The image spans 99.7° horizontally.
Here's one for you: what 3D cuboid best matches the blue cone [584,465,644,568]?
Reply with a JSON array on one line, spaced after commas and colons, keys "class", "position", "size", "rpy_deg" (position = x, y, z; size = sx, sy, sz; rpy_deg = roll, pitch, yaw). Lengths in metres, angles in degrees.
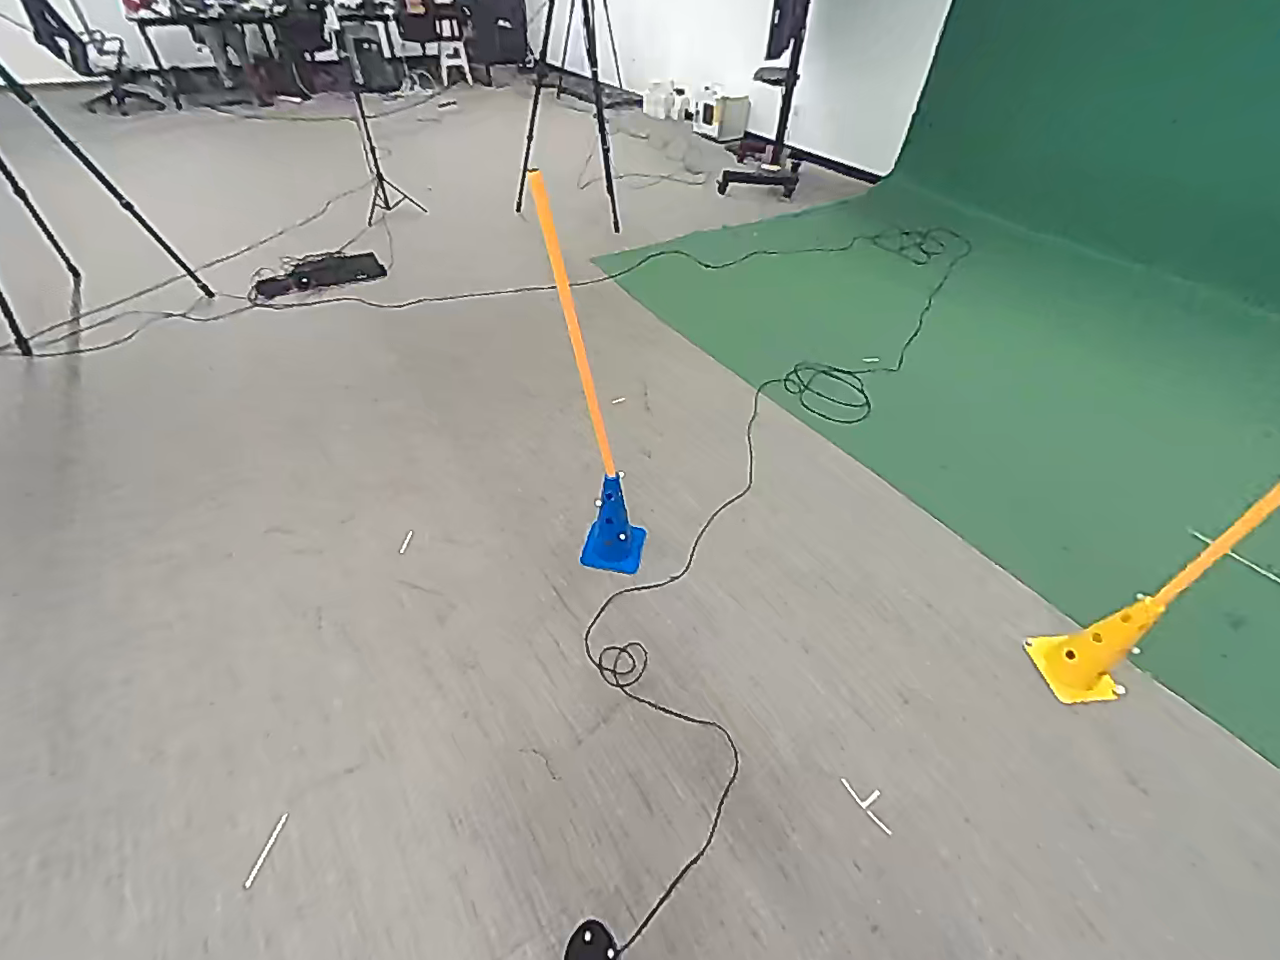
[{"class": "blue cone", "position": [-0.088, 0.104, 1.736], "size": [0.193, 0.380, 0.192], "rpy_deg": [7, 46, 7]}]
